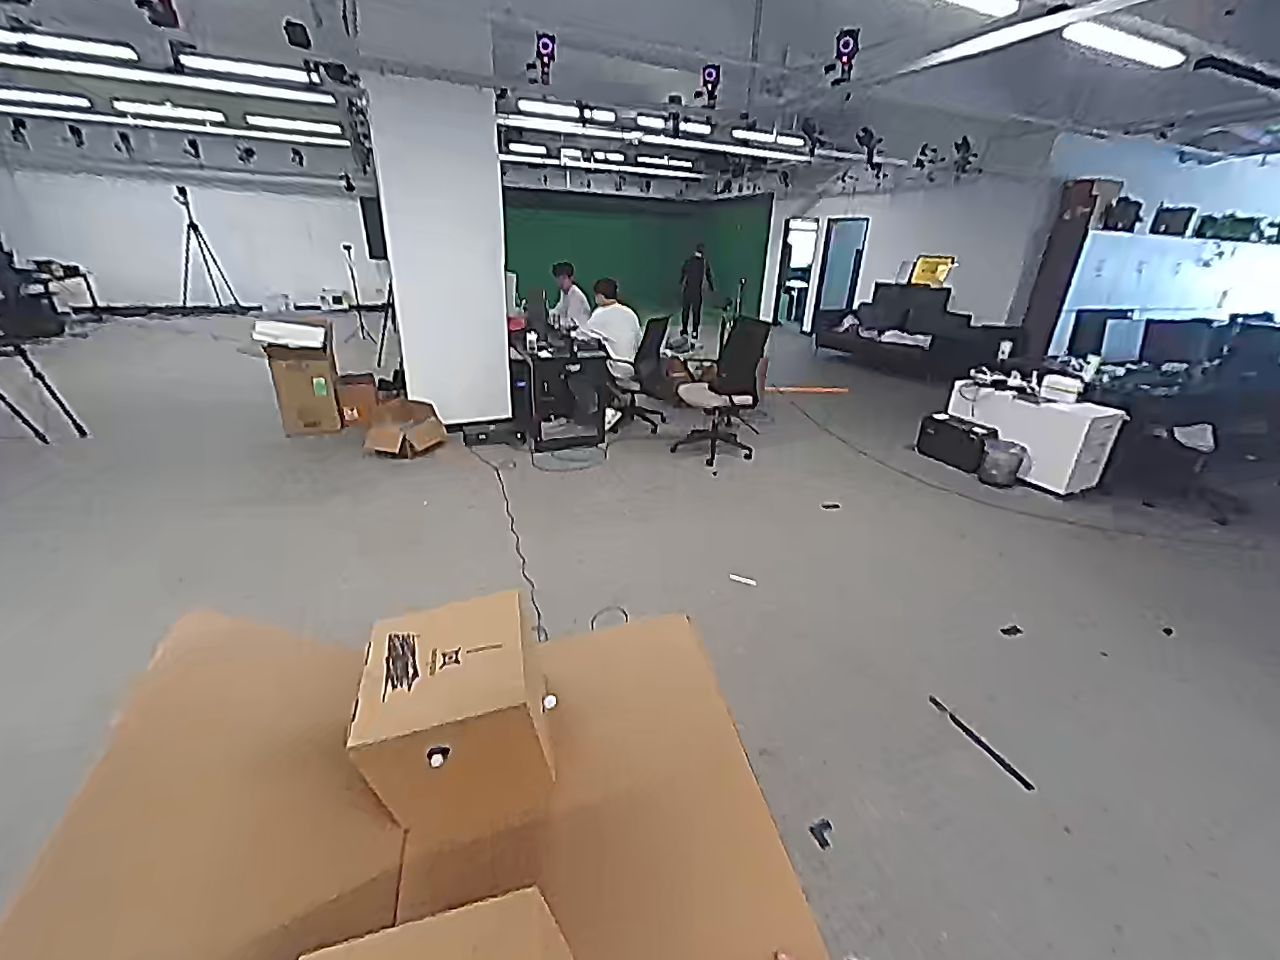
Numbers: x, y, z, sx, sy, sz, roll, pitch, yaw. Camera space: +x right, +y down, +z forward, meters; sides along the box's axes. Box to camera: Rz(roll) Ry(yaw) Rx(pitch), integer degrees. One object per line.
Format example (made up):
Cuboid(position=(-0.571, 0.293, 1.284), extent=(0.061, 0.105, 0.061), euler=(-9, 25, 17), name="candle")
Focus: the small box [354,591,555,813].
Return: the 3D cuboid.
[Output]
Cuboid(position=(-0.210, 0.267, 0.656), extent=(0.179, 0.176, 0.168), euler=(-11, 35, -8), name="small box")
